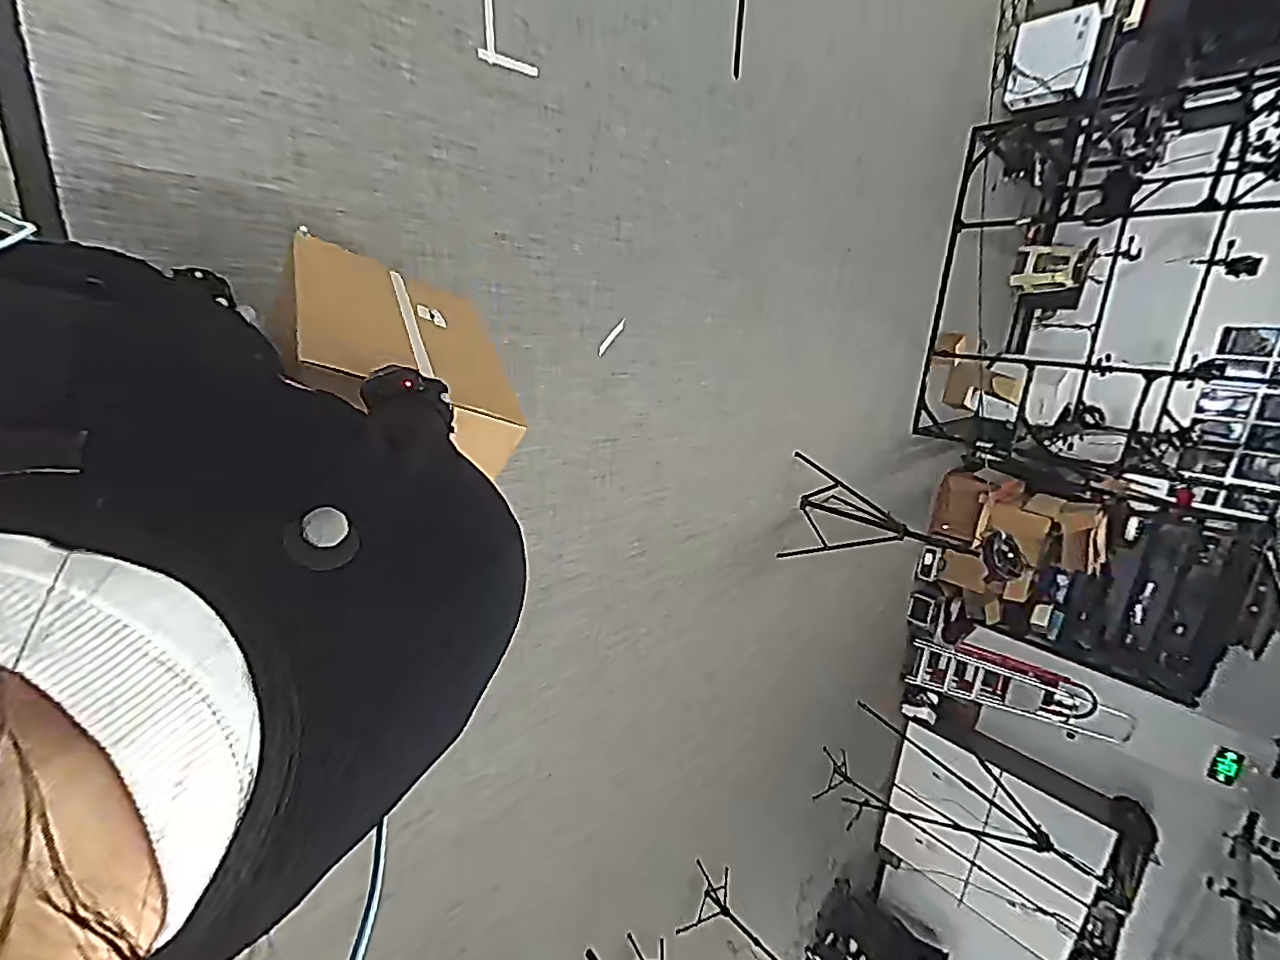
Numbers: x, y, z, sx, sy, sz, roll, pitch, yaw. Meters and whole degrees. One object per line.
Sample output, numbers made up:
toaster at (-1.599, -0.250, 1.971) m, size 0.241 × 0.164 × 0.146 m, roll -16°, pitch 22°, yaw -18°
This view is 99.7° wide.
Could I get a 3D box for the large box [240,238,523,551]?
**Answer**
large box at (-0.457, -0.130, 0.917) m, size 0.320 × 0.408 × 0.320 m, roll 15°, pitch 121°, yaw -43°
